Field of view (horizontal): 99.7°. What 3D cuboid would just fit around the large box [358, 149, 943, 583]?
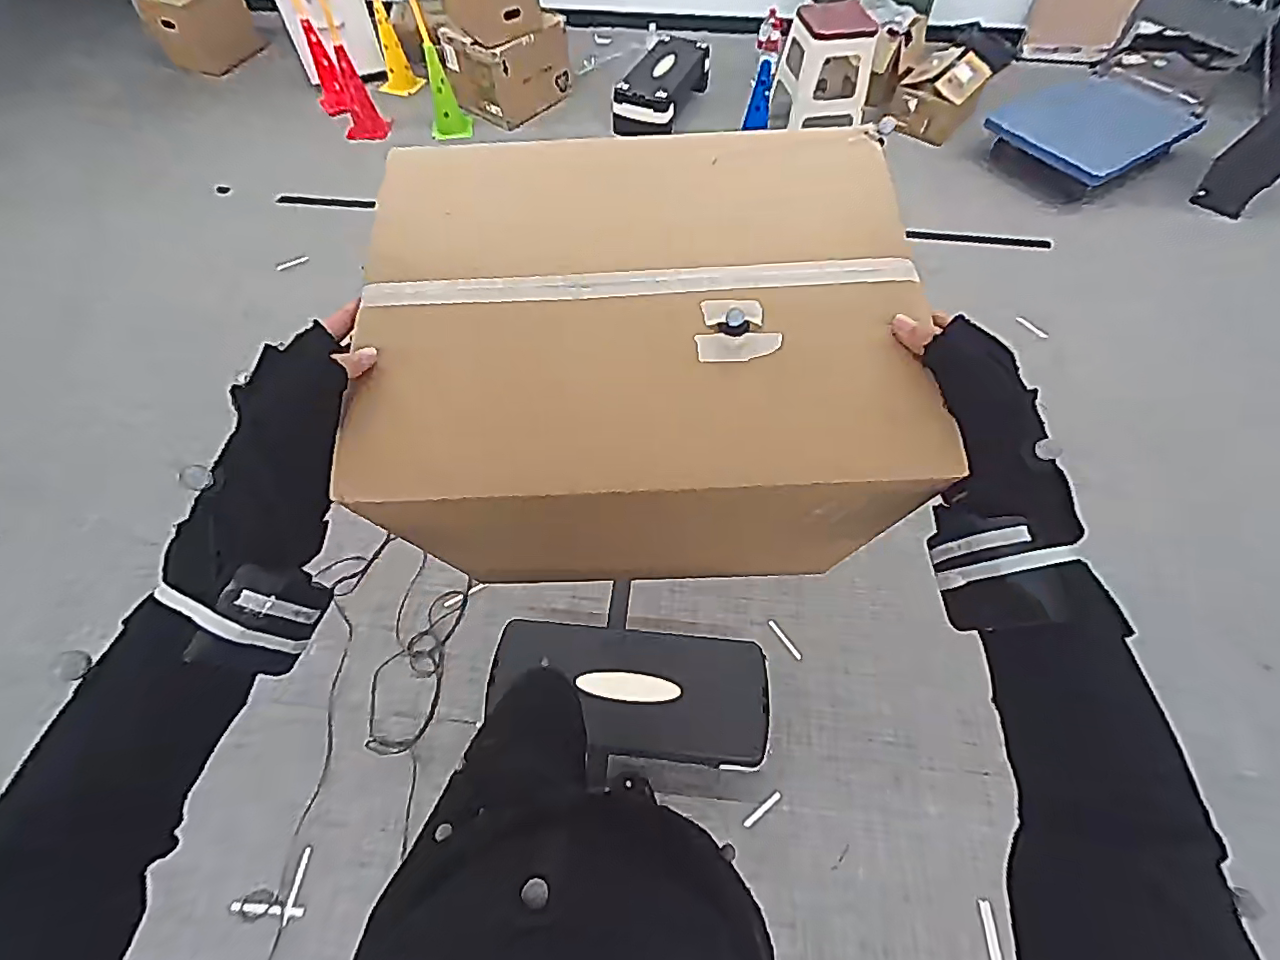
[{"bbox_3d":[0.002,-0.084,0.554,0.408,0.320,0.320,-2,69,1],"label":"large box"}]
